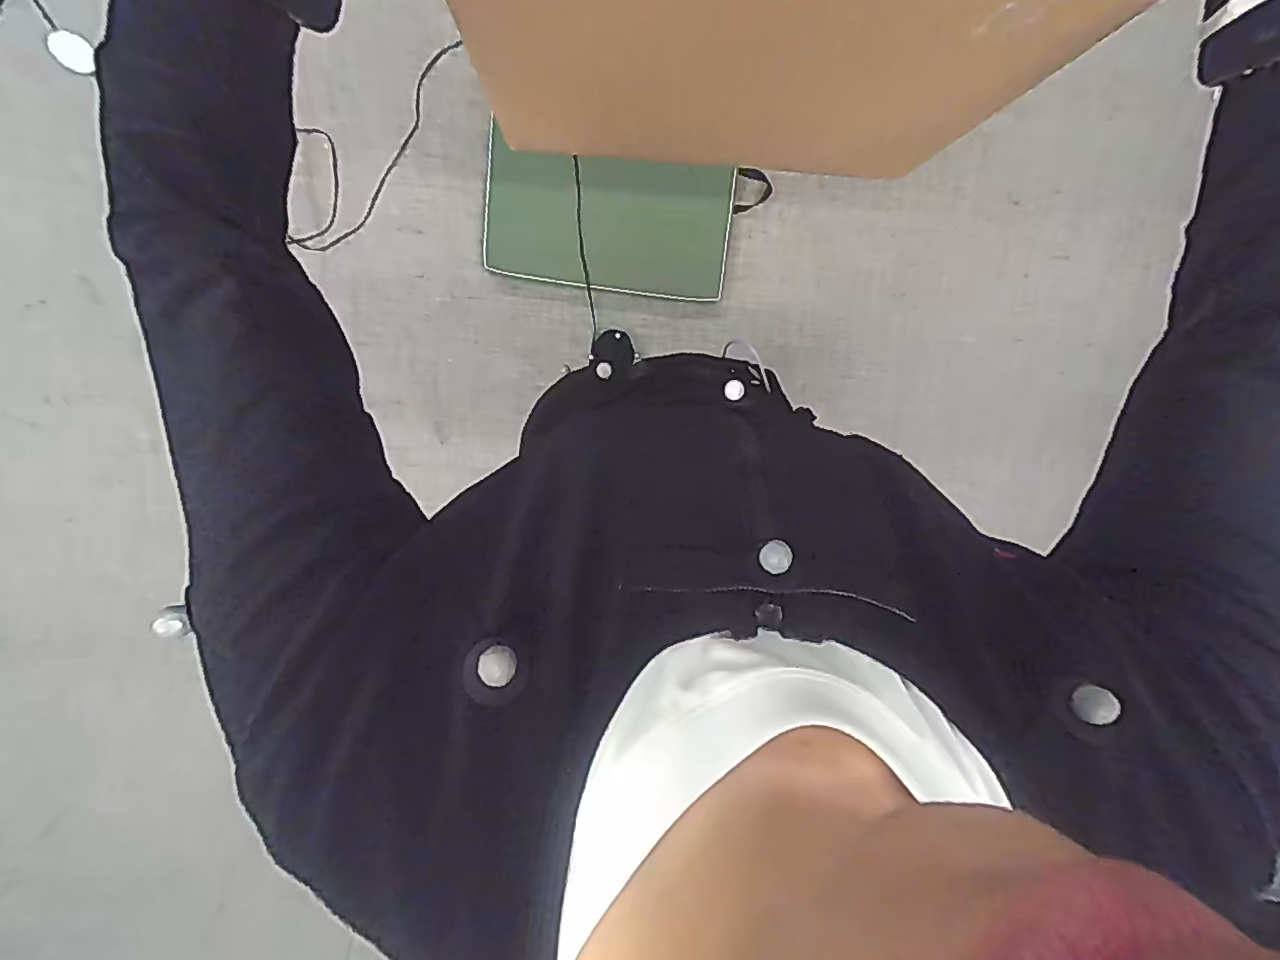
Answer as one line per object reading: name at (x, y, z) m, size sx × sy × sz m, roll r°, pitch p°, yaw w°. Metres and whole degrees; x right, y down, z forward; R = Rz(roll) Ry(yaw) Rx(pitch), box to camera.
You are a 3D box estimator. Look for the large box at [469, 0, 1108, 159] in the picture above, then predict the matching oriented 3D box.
large box at (0.086, -0.453, 0.371) m, size 0.408 × 0.320 × 0.320 m, roll 1°, pitch 101°, yaw -5°
